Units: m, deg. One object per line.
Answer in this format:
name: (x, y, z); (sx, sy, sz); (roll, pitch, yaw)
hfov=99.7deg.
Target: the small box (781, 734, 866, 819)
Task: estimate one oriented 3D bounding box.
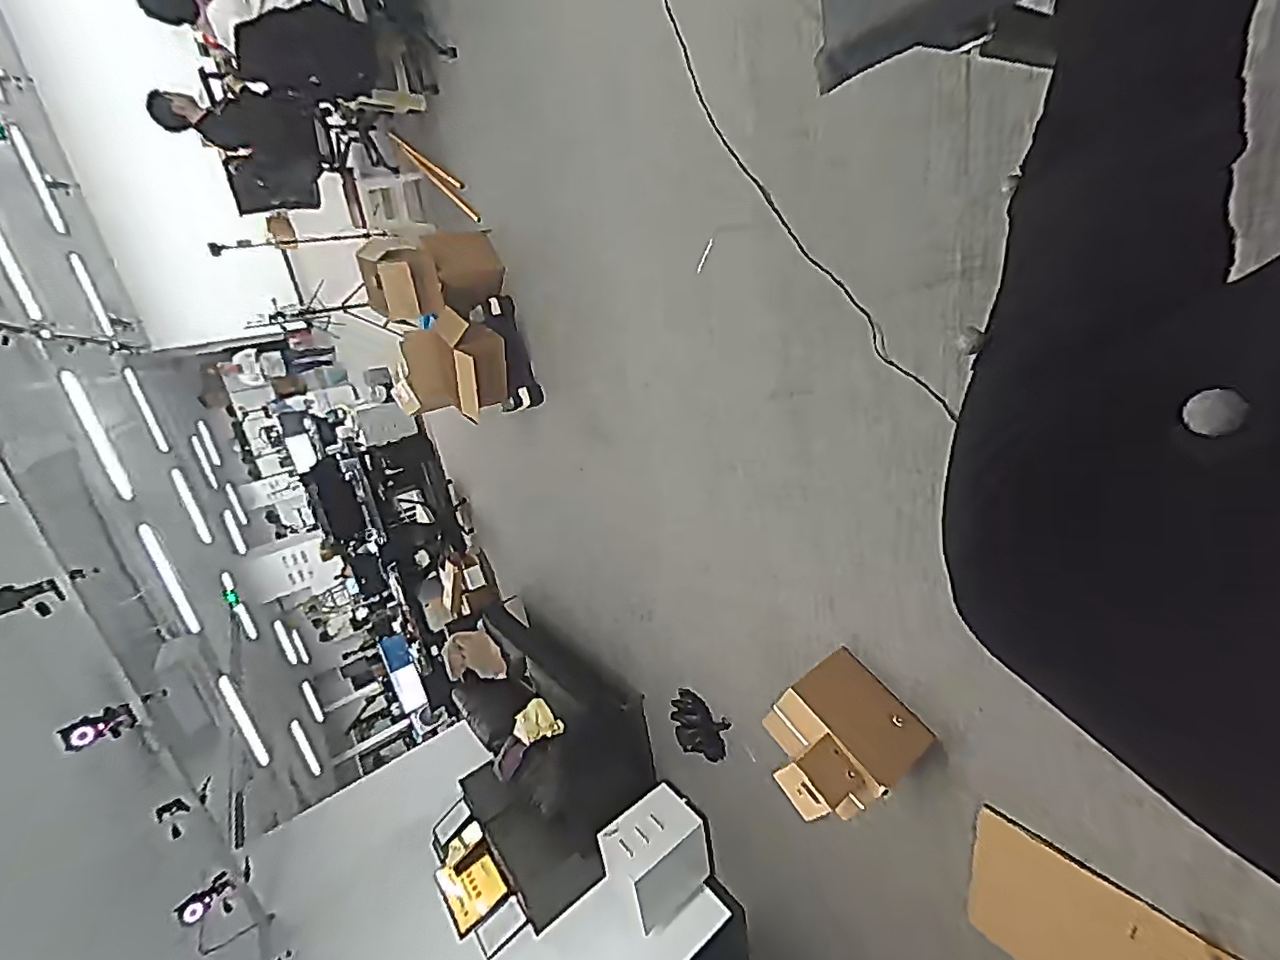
small box: (0.601, 0.961, 1.761); (0.168, 0.176, 0.179); (51, 145, 26)
